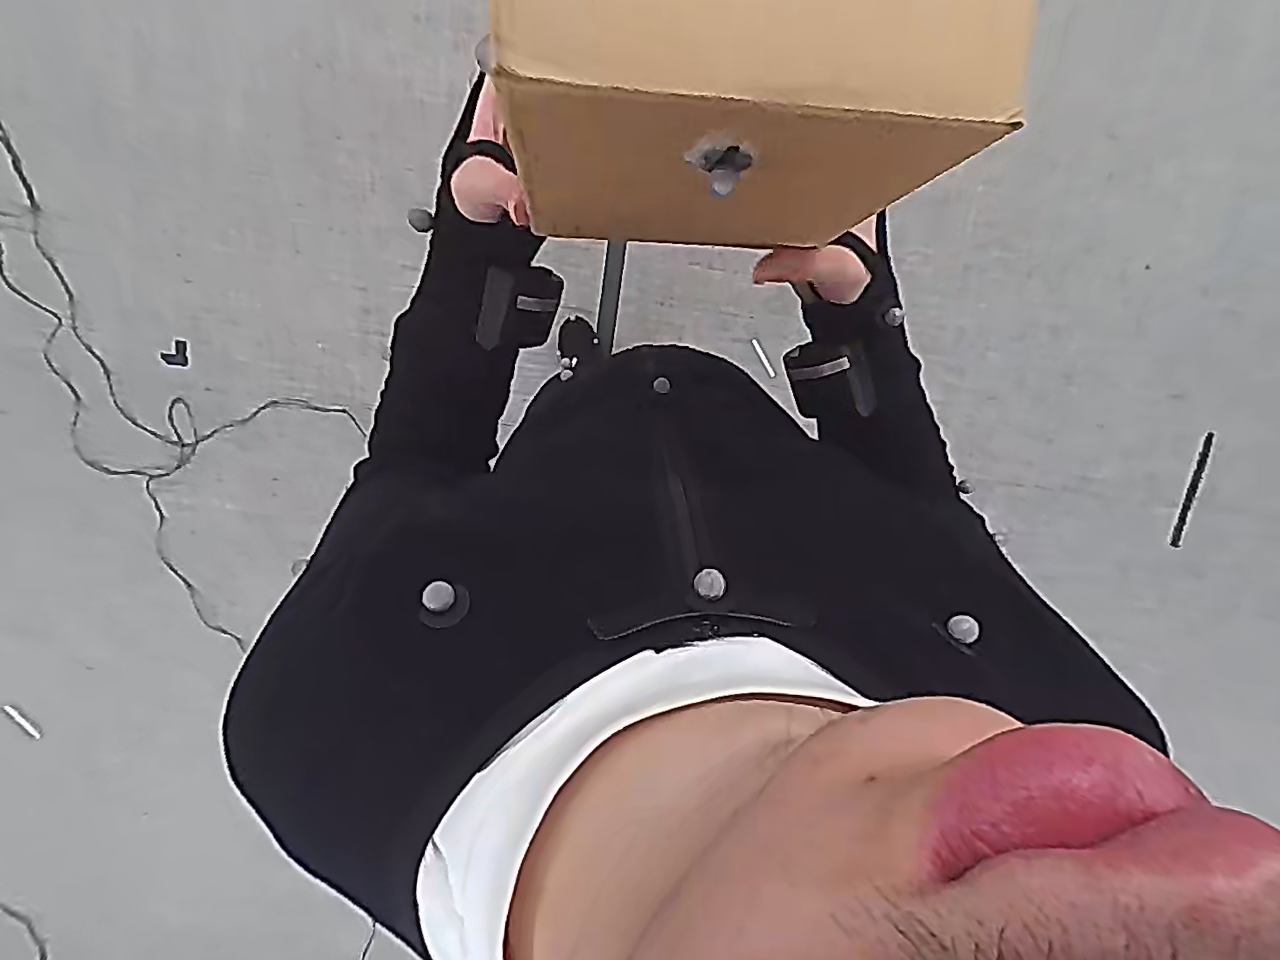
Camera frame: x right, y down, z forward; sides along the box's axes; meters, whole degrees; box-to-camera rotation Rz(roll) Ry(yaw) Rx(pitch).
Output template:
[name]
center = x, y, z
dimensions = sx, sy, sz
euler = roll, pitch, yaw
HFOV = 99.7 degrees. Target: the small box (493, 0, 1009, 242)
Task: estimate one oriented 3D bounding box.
[small box]
center = 0.032, -0.218, 0.248
dimensions = 0.179, 0.176, 0.168
euler = 0, 100, -8
